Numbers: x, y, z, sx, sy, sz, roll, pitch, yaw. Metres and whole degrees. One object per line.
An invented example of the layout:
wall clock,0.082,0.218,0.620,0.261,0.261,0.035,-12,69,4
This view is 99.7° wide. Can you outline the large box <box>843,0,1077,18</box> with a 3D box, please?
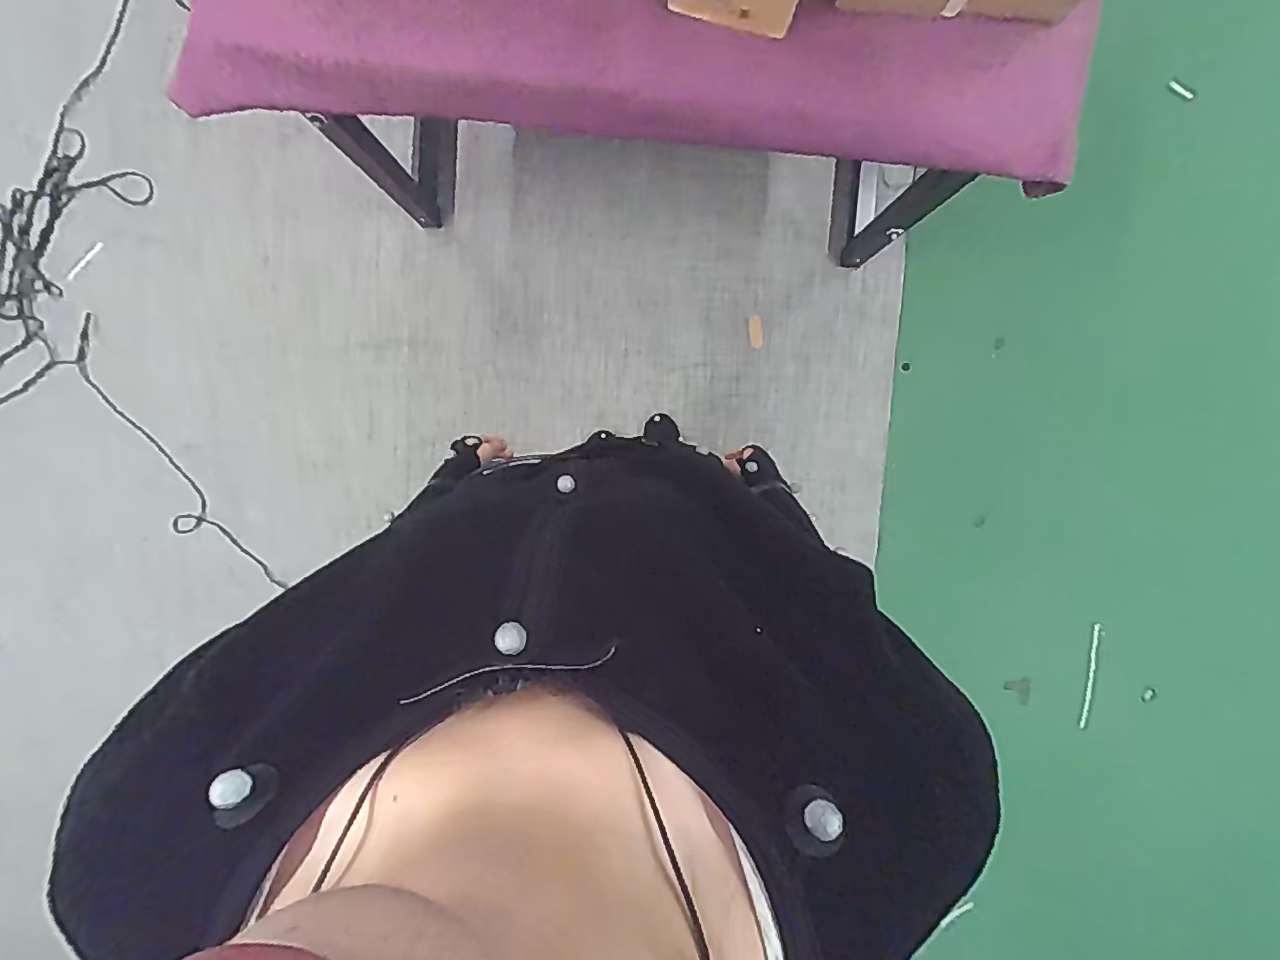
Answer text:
large box,0.427,-0.811,0.560,0.320,0.320,0.408,4,96,2
